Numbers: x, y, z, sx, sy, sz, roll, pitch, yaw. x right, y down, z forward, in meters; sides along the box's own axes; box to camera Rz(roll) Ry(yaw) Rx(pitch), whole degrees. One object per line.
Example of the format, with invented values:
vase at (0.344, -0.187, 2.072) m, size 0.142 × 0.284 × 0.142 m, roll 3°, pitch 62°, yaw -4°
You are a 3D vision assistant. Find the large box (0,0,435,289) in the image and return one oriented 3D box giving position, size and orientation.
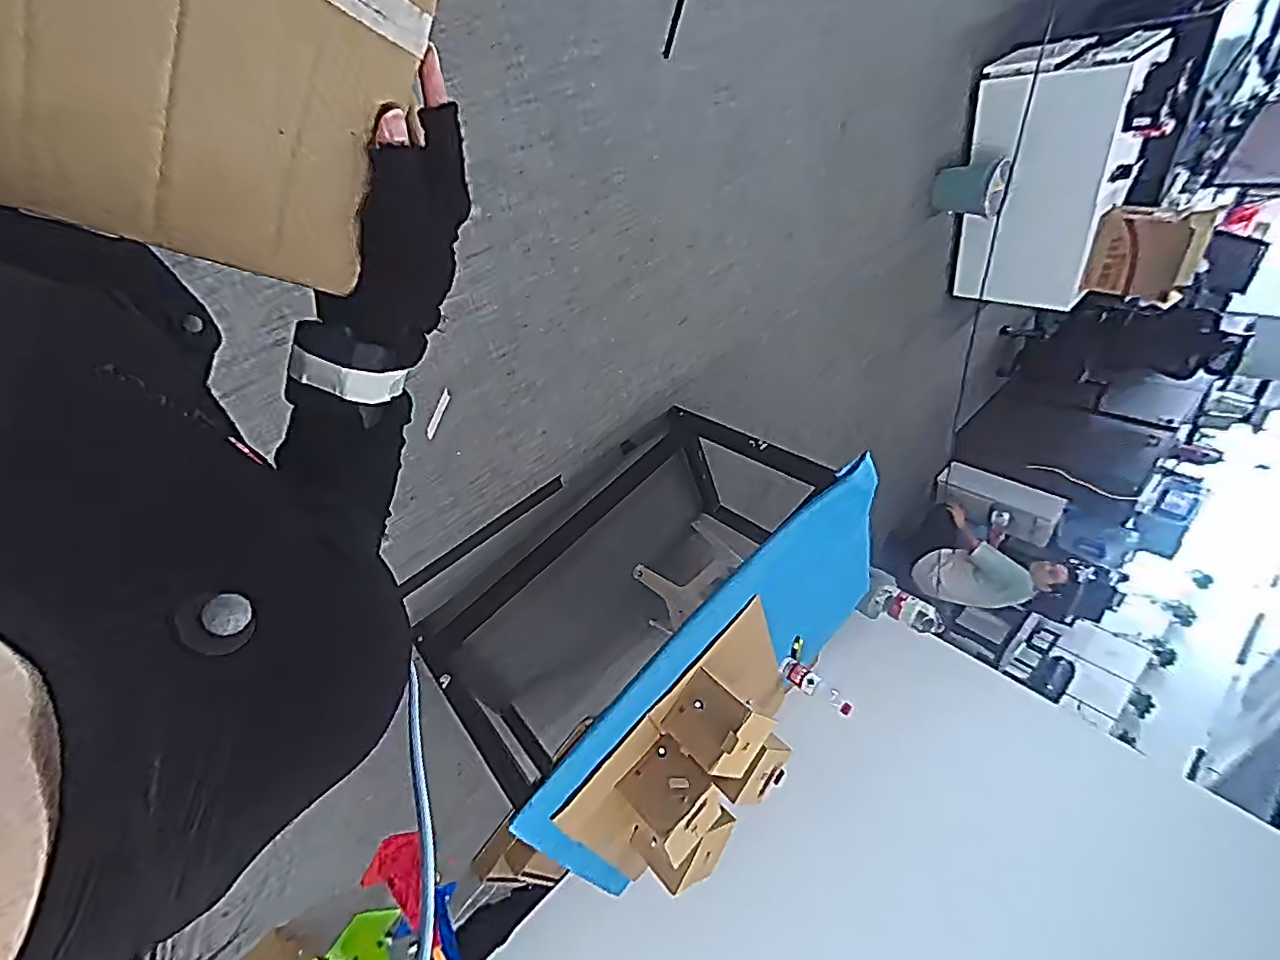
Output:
large box at (-0.345, -0.346, 0.248) m, size 0.408 × 0.320 × 0.320 m, roll 4°, pitch 126°, yaw -47°
